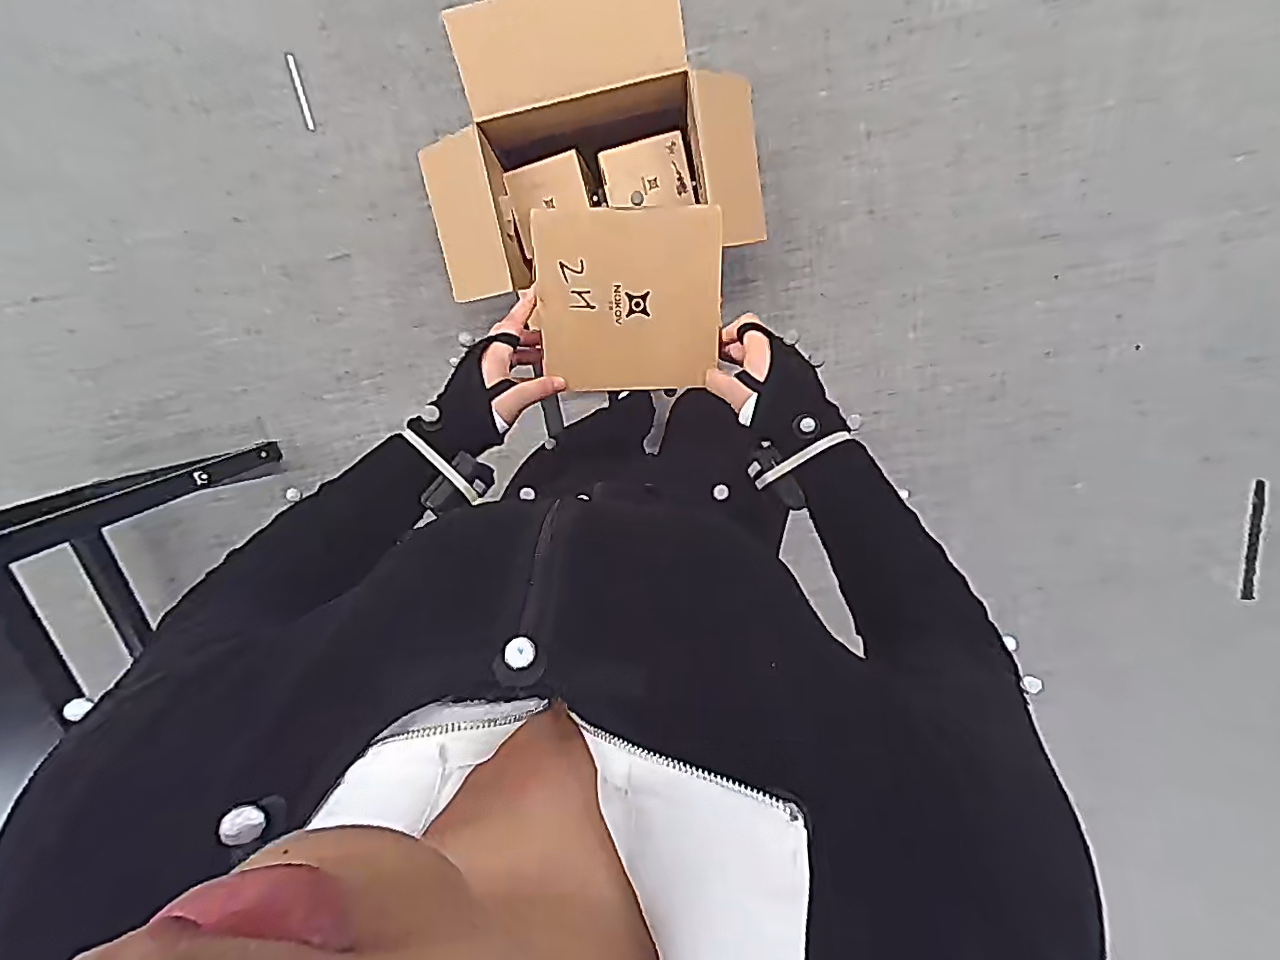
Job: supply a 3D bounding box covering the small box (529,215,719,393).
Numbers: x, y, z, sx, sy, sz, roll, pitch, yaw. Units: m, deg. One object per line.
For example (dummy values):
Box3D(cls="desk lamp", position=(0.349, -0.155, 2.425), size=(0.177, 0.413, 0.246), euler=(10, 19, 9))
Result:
Box3D(cls="small box", position=(-0.016, -0.194, 0.591), size=(0.179, 0.176, 0.168), euler=(-1, 112, -1))
